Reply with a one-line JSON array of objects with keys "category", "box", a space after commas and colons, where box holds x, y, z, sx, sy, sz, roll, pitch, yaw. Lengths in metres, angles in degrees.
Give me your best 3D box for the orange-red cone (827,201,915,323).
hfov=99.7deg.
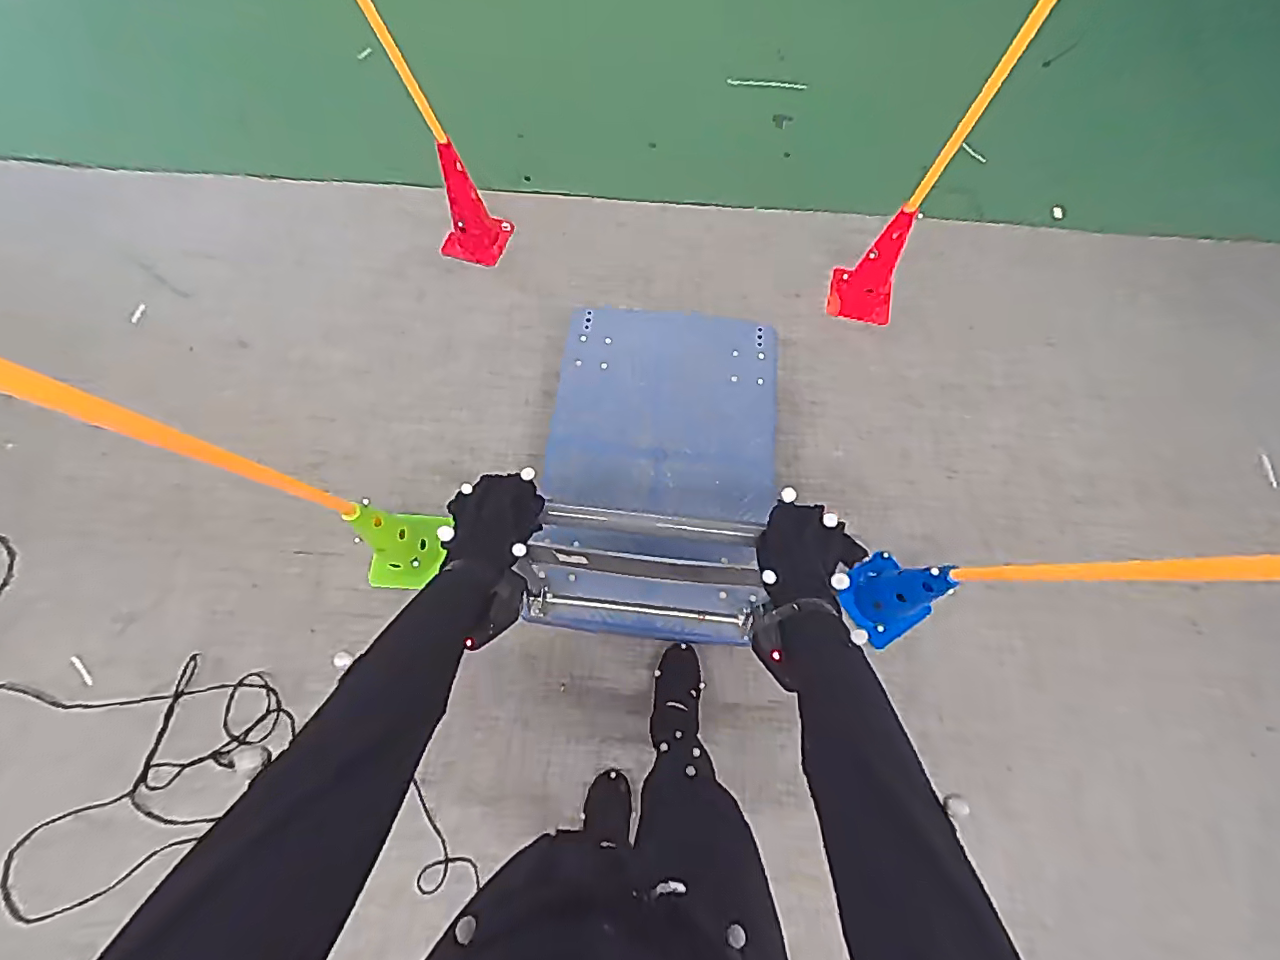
[{"category": "orange-red cone", "box": [0.714, -0.662, 1.596, 0.198, 0.360, 0.199, 14, 71, 6]}]
